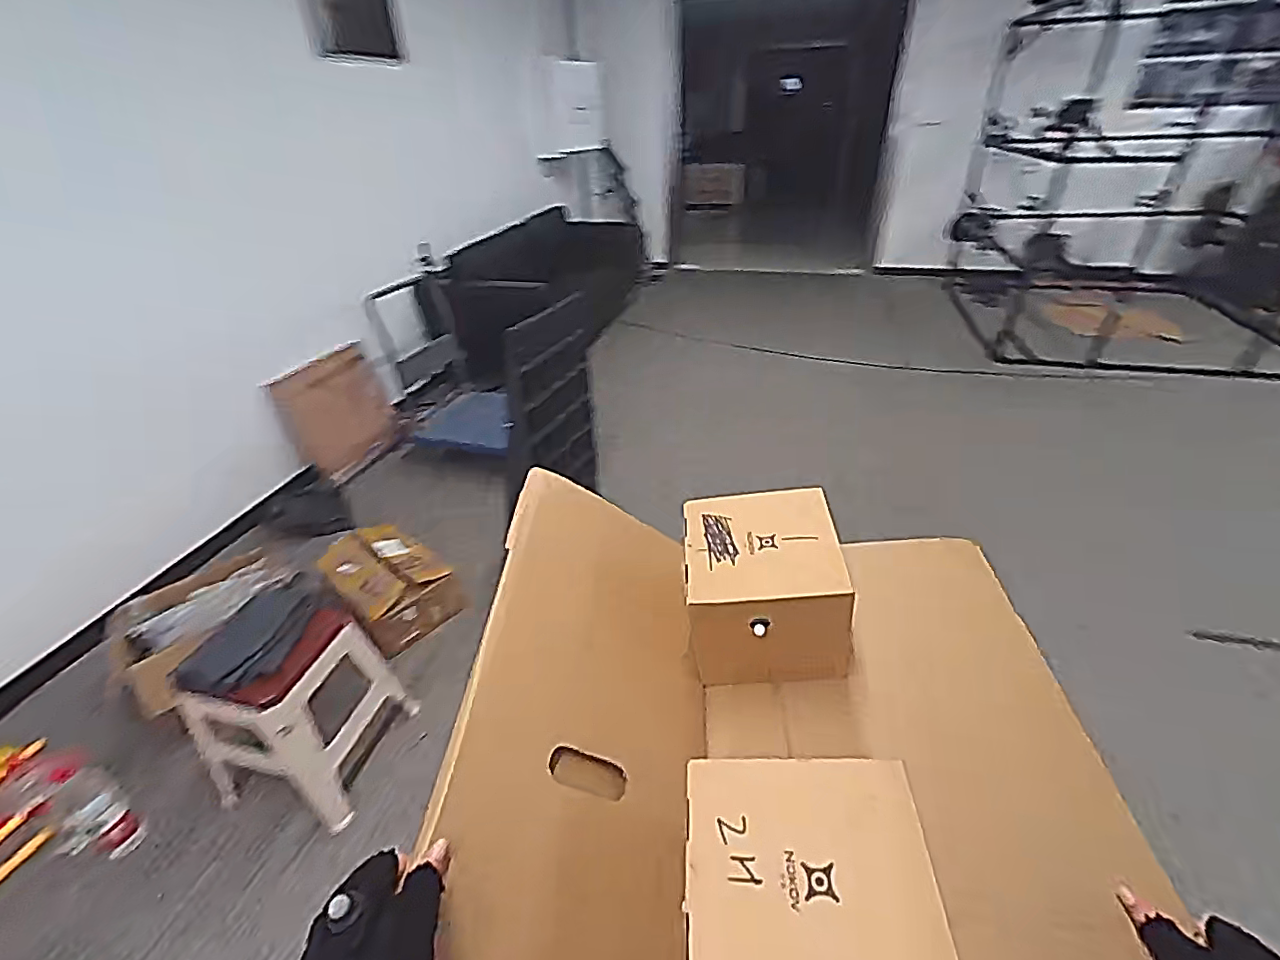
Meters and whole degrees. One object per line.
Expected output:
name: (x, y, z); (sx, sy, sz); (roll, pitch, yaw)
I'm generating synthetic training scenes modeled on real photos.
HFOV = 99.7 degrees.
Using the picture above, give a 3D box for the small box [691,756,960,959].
small box: (0.140, 0.348, 0.444); (0.179, 0.176, 0.168); (-5, 40, 12)
